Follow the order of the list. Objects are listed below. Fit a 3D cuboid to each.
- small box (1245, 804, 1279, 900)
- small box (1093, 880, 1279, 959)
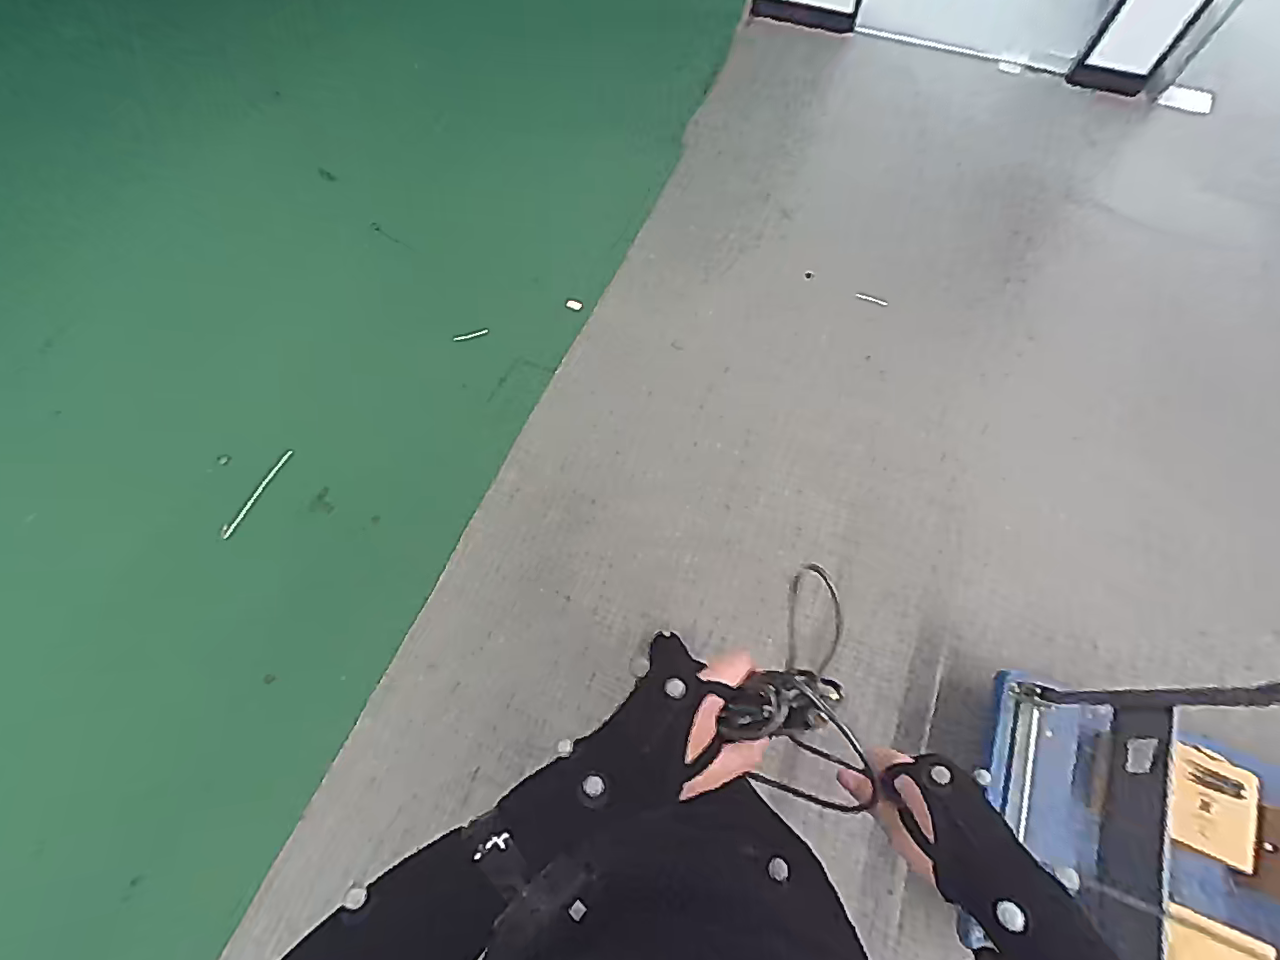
[{"bbox_3d":[1.310,0.735,1.019,0.179,0.176,0.168,16,70,9],"label":"small box"},{"bbox_3d":[0.982,0.869,0.980,0.179,0.176,0.168,20,70,11],"label":"small box"}]
